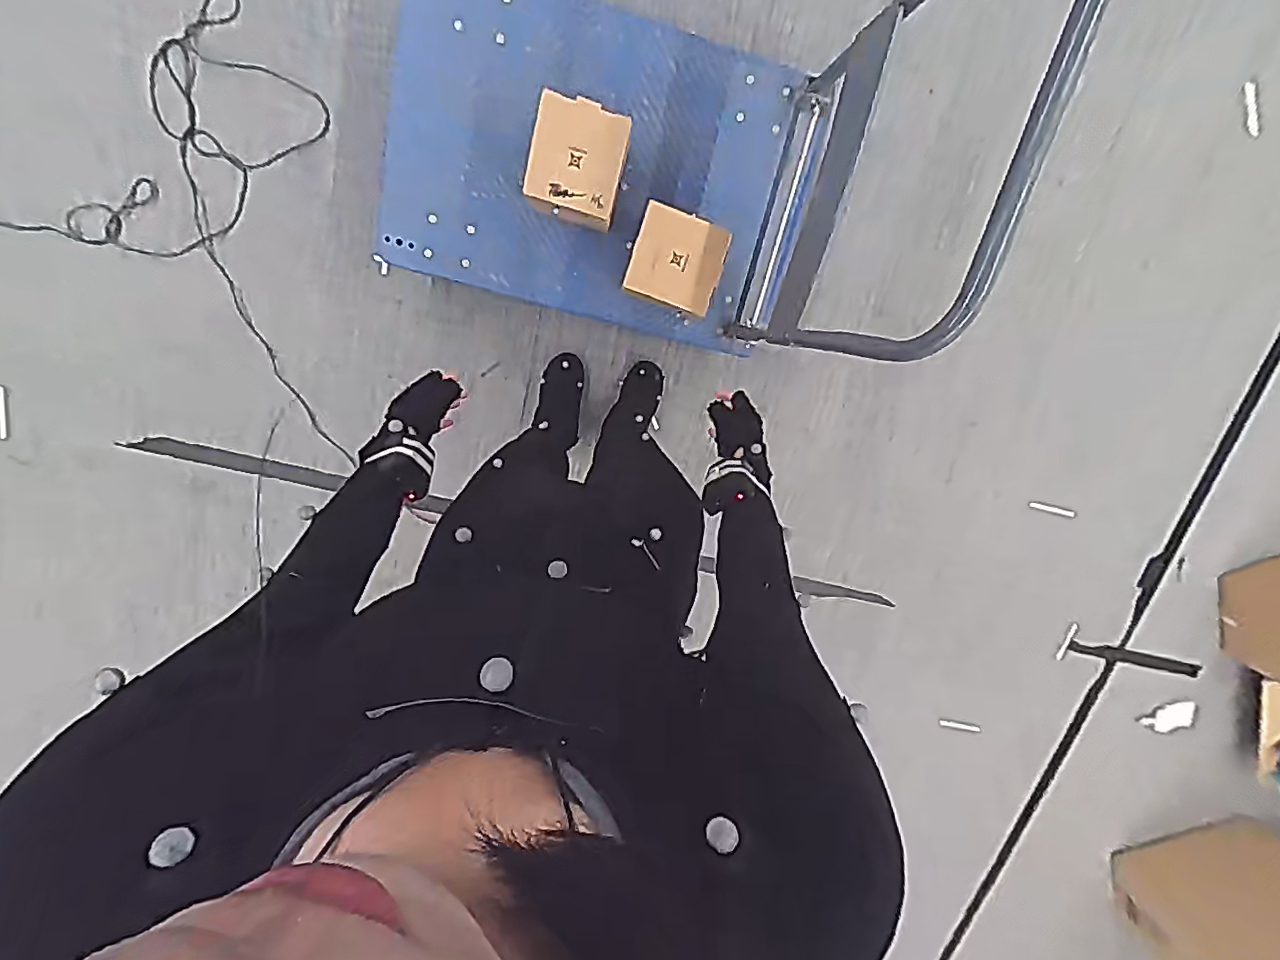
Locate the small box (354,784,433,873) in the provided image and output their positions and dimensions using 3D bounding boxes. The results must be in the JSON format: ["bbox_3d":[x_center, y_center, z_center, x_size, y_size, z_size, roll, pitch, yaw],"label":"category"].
[{"bbox_3d":[-0.769,1.094,1.710,0.179,0.176,0.168,-5,107,-2],"label":"small box"}]

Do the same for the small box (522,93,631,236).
[{"bbox_3d":[-0.123,-0.603,1.060,0.168,0.176,0.179,15,104,-7],"label":"small box"}]

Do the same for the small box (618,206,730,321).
[{"bbox_3d":[0.062,-0.439,1.124,0.179,0.176,0.168,18,102,-8],"label":"small box"}]
